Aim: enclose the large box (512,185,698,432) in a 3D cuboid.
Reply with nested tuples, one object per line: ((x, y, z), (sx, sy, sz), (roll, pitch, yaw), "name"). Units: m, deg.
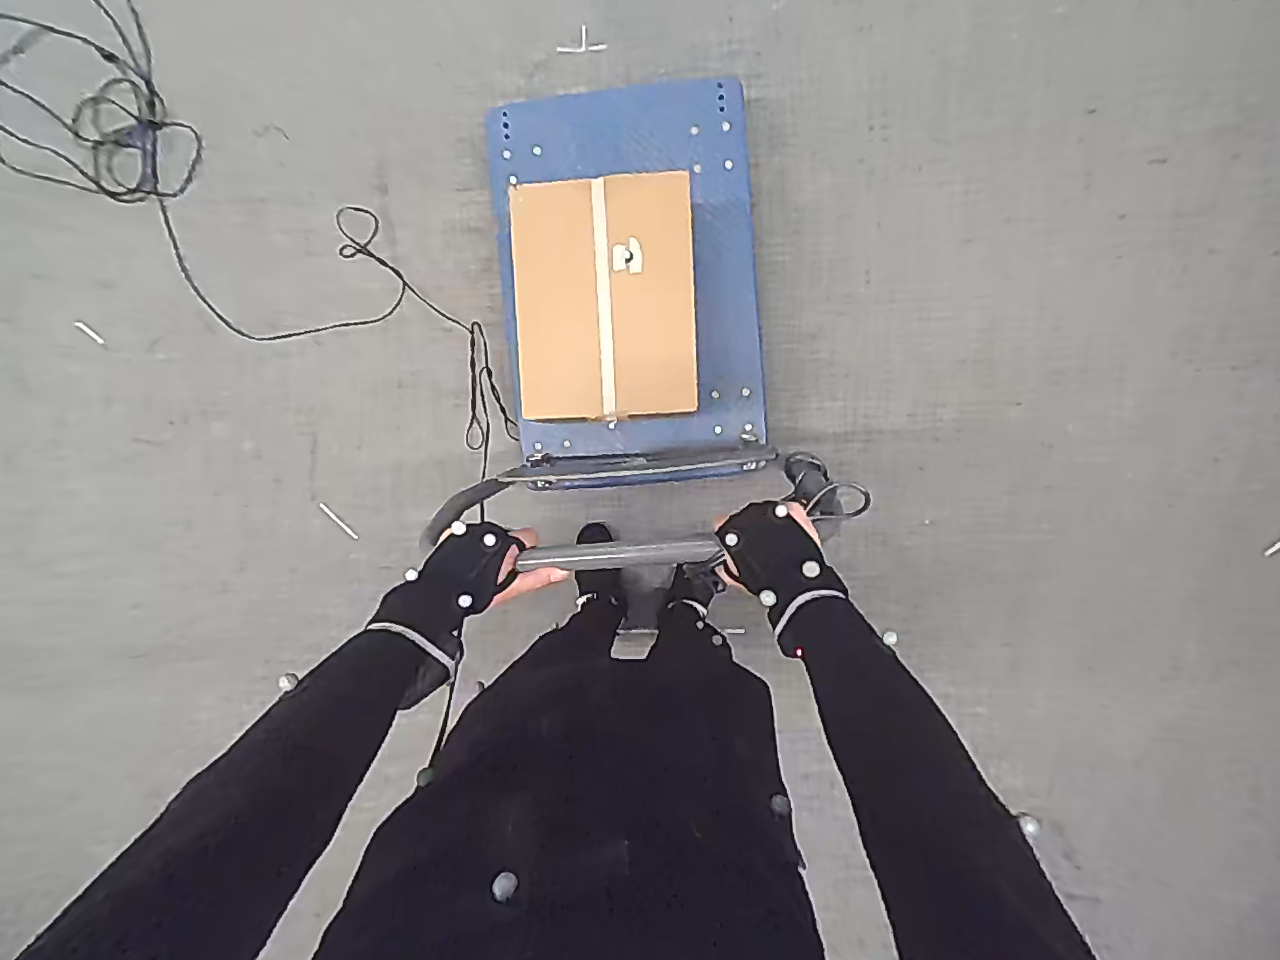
((-0.051, -0.308, 1.091), (0.320, 0.320, 0.408), (-2, 93, 3), "large box")
